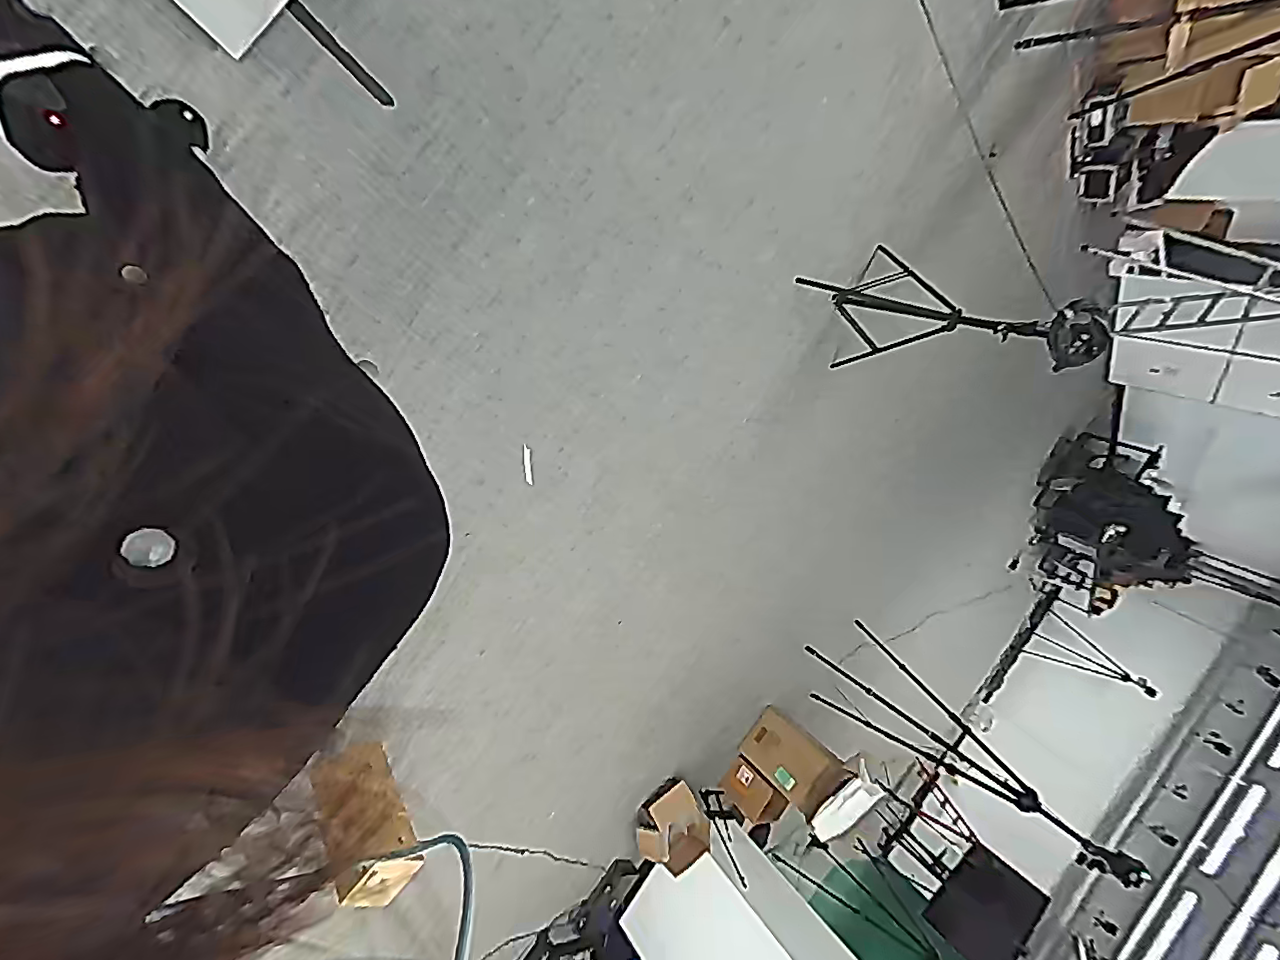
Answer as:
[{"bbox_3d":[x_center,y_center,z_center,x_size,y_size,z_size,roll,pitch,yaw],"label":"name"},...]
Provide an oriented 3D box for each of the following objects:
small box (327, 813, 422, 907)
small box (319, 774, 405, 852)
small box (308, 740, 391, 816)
[{"bbox_3d":[-0.810,1.153,1.648,0.168,0.176,0.179,-48,136,-10],"label":"small box"},{"bbox_3d":[-0.912,1.094,1.763,0.179,0.176,0.168,-54,136,-5],"label":"small box"},{"bbox_3d":[-1.010,1.031,1.876,0.168,0.176,0.179,-55,136,-4],"label":"small box"}]
